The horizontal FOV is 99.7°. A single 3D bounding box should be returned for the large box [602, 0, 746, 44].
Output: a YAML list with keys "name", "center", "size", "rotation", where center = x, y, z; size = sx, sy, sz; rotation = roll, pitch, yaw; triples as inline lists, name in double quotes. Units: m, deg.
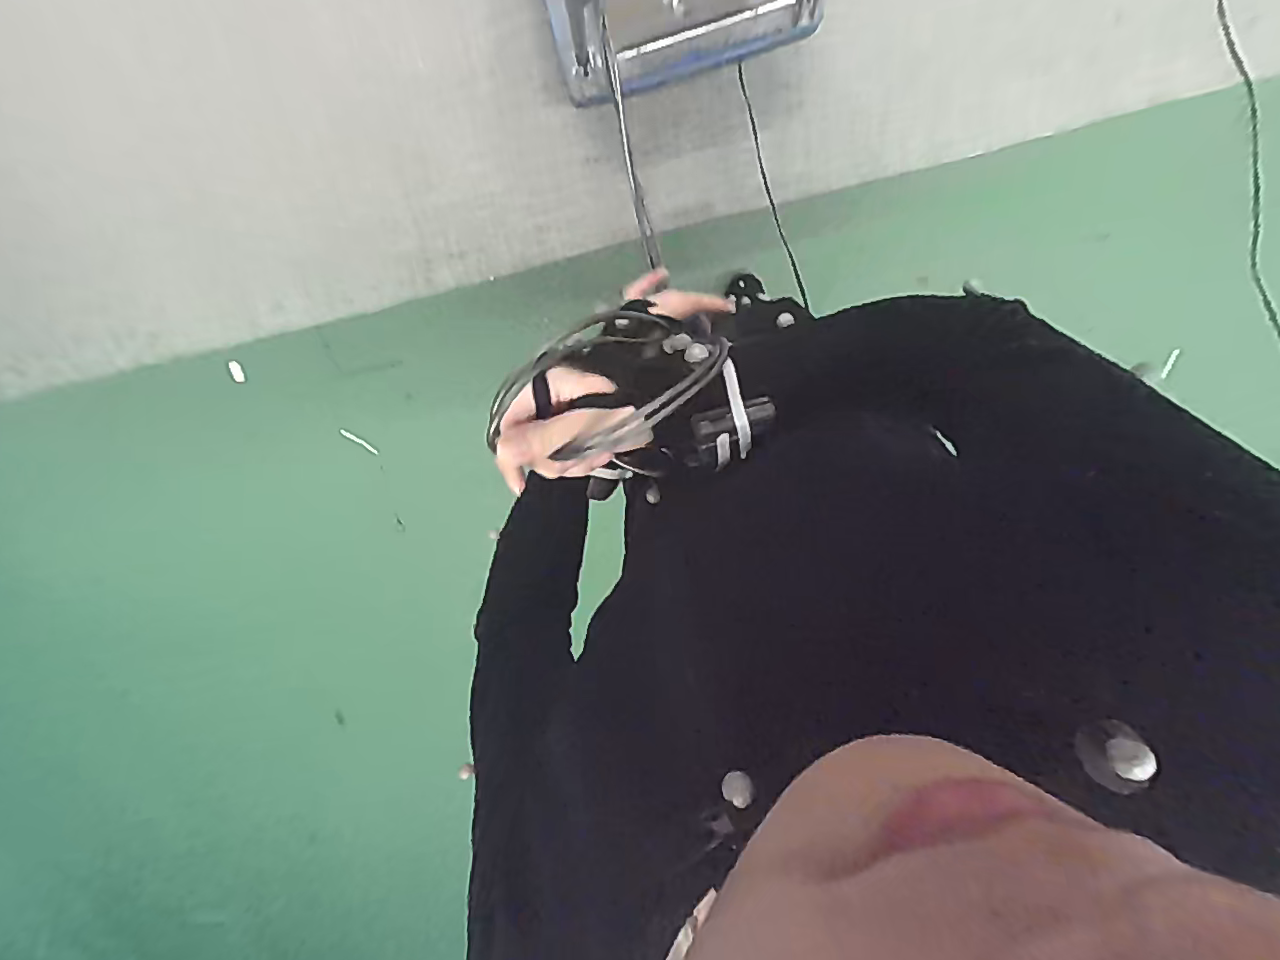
- name: "large box"
  center: [0.035, -1.125, 0.974]
  size: [0.320, 0.320, 0.408]
  rotation: [-14, 107, 3]
